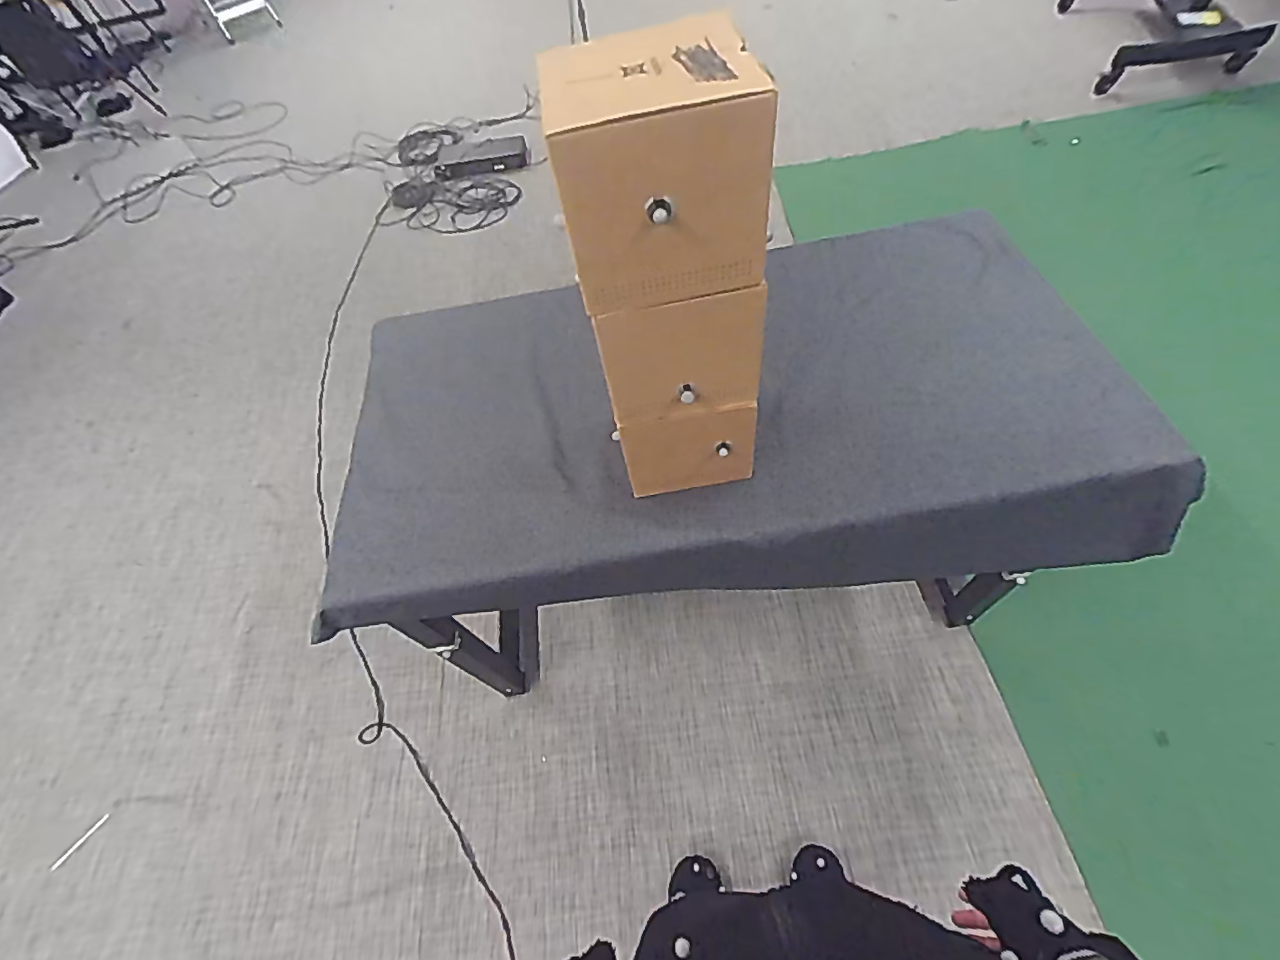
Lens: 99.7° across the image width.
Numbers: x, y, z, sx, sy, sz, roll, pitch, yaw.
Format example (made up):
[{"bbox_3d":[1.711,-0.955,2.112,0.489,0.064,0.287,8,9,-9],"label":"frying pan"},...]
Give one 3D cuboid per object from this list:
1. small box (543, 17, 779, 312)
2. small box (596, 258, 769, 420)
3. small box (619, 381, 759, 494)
[{"bbox_3d":[0.017,-0.286,0.507,0.179,0.176,0.168,-11,56,2],"label":"small box"},{"bbox_3d":[0.040,-0.194,0.642,0.179,0.176,0.168,-11,55,1],"label":"small box"},{"bbox_3d":[0.062,-0.100,0.774,0.179,0.176,0.168,-11,55,2],"label":"small box"}]
